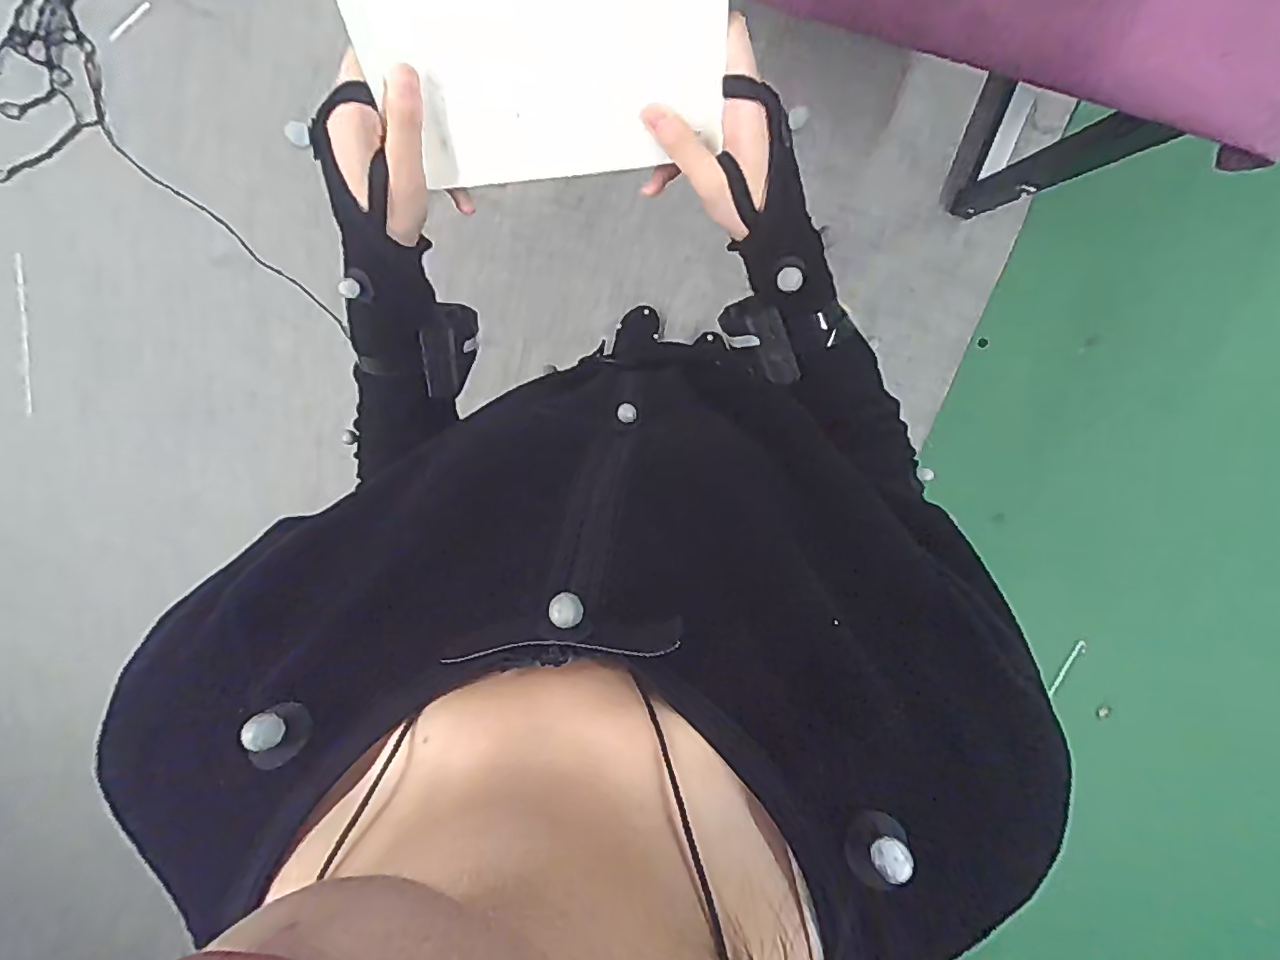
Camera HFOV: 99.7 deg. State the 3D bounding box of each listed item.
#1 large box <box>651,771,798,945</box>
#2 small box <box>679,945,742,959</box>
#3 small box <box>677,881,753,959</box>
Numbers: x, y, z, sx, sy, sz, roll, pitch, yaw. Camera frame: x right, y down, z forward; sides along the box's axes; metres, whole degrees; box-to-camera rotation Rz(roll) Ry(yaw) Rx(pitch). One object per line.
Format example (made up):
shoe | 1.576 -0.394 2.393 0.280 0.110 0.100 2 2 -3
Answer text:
large box | 0.239 1.149 1.669 0.408 0.320 0.320 2 106 3
small box | 0.170 1.258 1.280 0.168 0.176 0.179 8 105 3
small box | 0.193 1.212 1.436 0.179 0.176 0.168 6 104 3
